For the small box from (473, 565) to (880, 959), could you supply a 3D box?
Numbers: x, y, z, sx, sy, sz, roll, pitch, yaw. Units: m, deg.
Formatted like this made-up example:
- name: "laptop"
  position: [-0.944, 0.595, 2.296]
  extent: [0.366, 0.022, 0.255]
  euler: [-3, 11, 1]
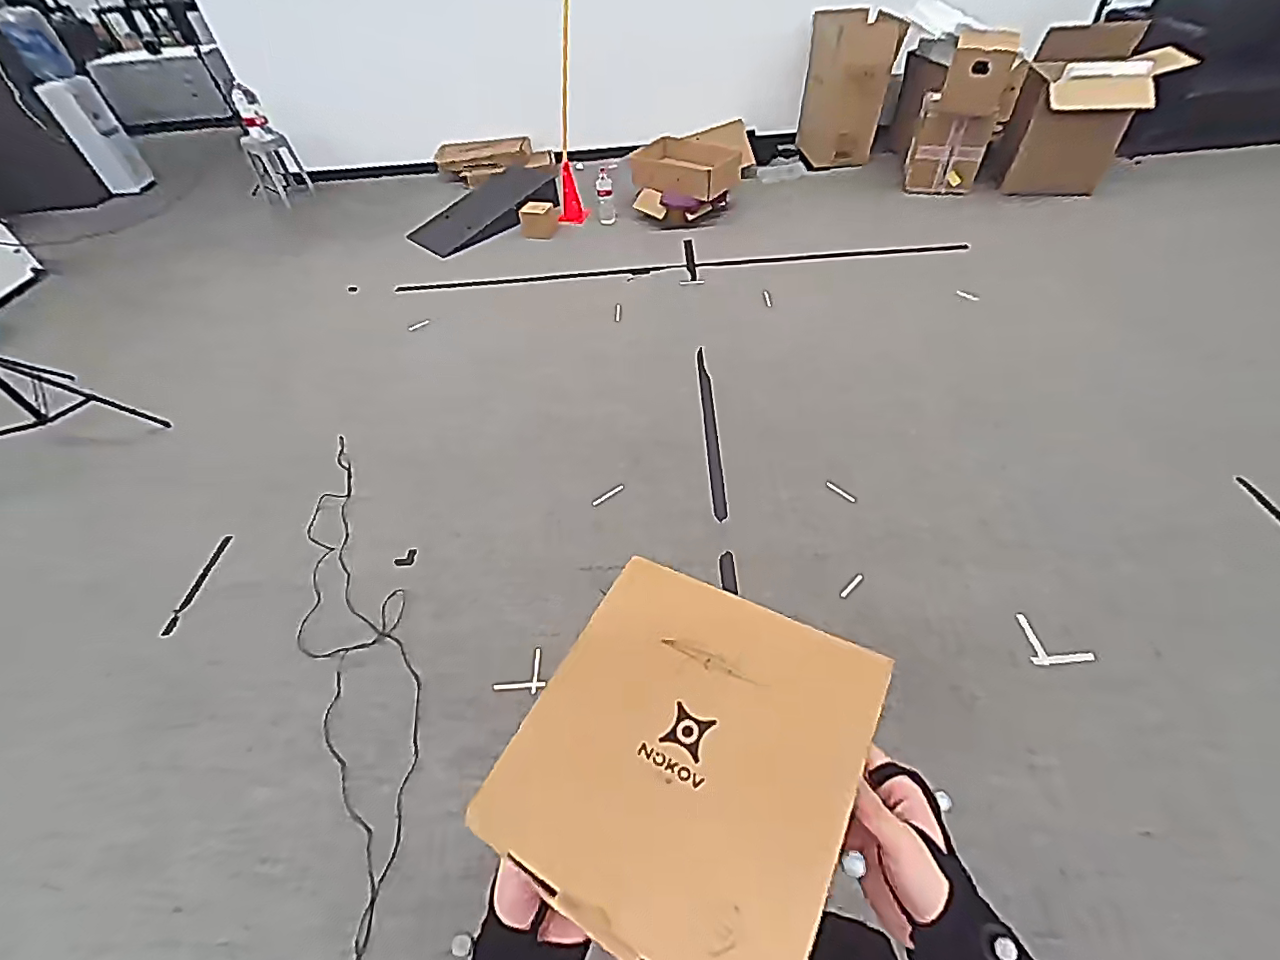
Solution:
- name: "small box"
  position: [0.035, 0.193, 0.348]
  extent: [0.168, 0.176, 0.179]
  euler: [19, 55, 24]
